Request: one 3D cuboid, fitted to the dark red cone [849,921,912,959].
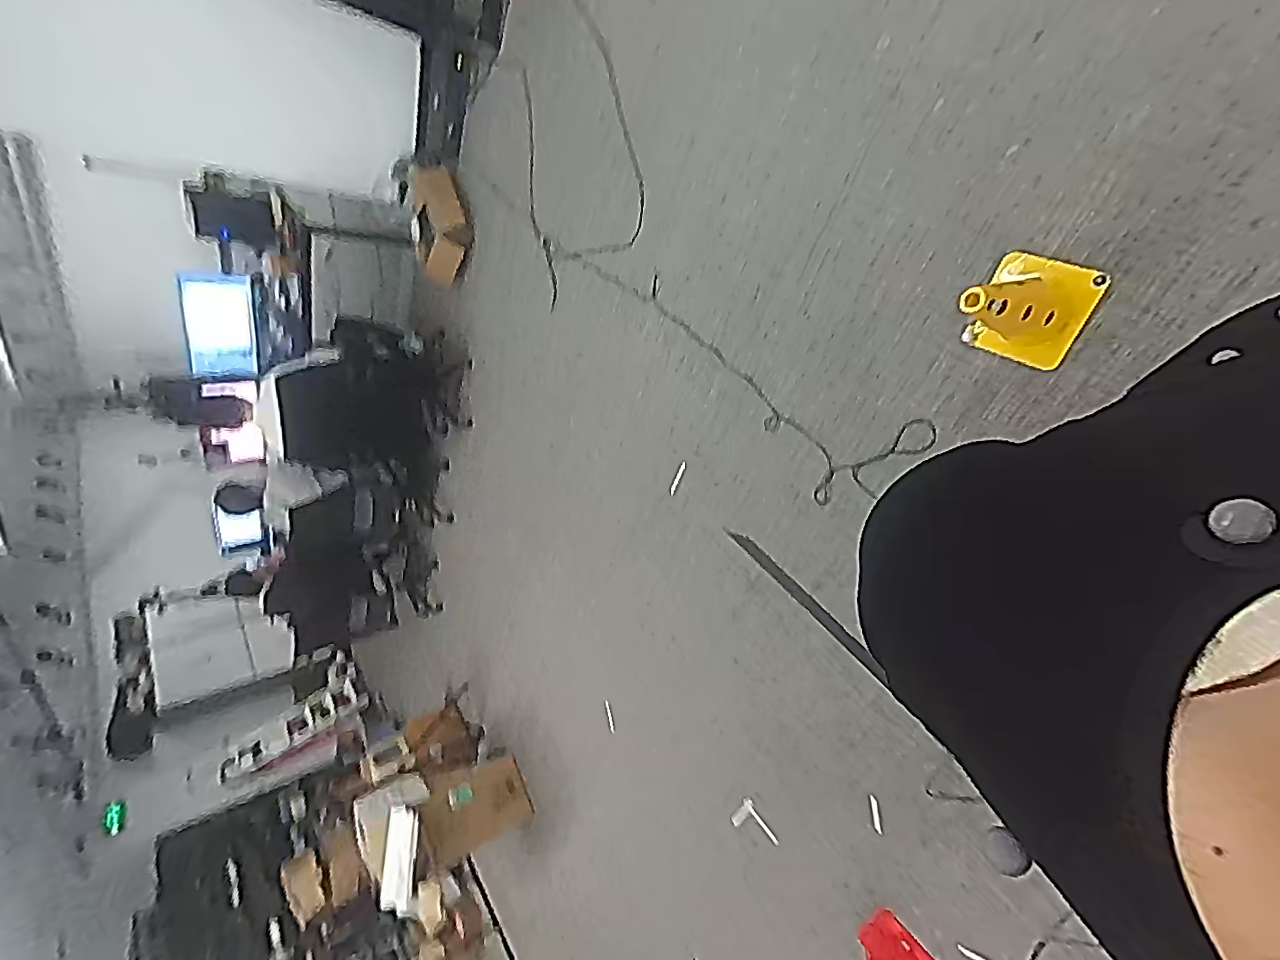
[{"bbox_3d":[0.608,1.449,1.480,0.202,0.394,0.201,39,125,37],"label":"dark red cone"}]
